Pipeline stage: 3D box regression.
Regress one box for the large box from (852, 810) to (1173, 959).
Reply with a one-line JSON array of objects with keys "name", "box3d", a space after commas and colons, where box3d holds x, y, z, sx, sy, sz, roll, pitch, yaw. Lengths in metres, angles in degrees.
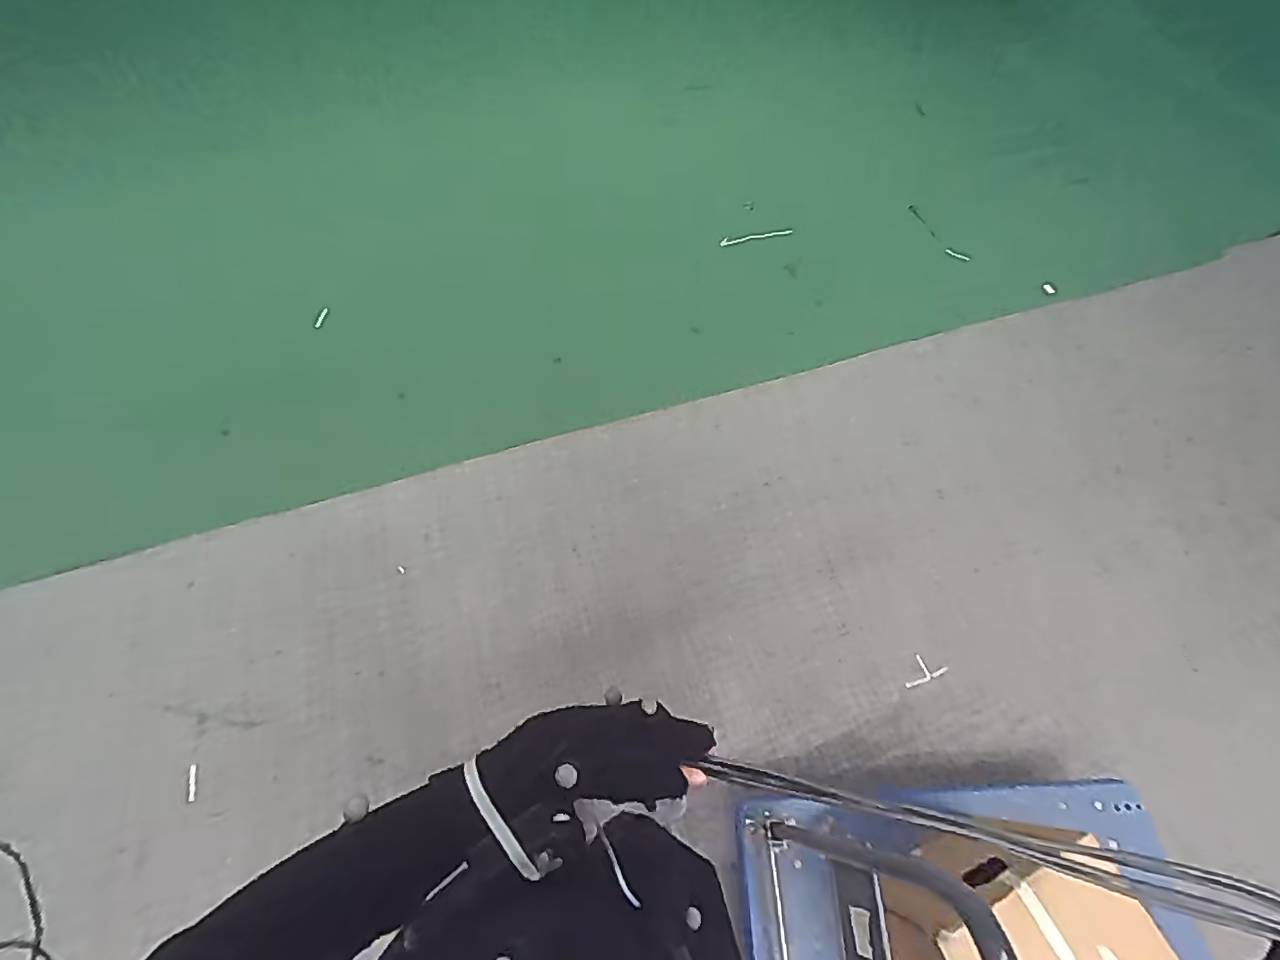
[{"name": "large box", "box3d": [0.630, 0.823, 0.872, 0.320, 0.320, 0.408, -20, 65, -14]}]
